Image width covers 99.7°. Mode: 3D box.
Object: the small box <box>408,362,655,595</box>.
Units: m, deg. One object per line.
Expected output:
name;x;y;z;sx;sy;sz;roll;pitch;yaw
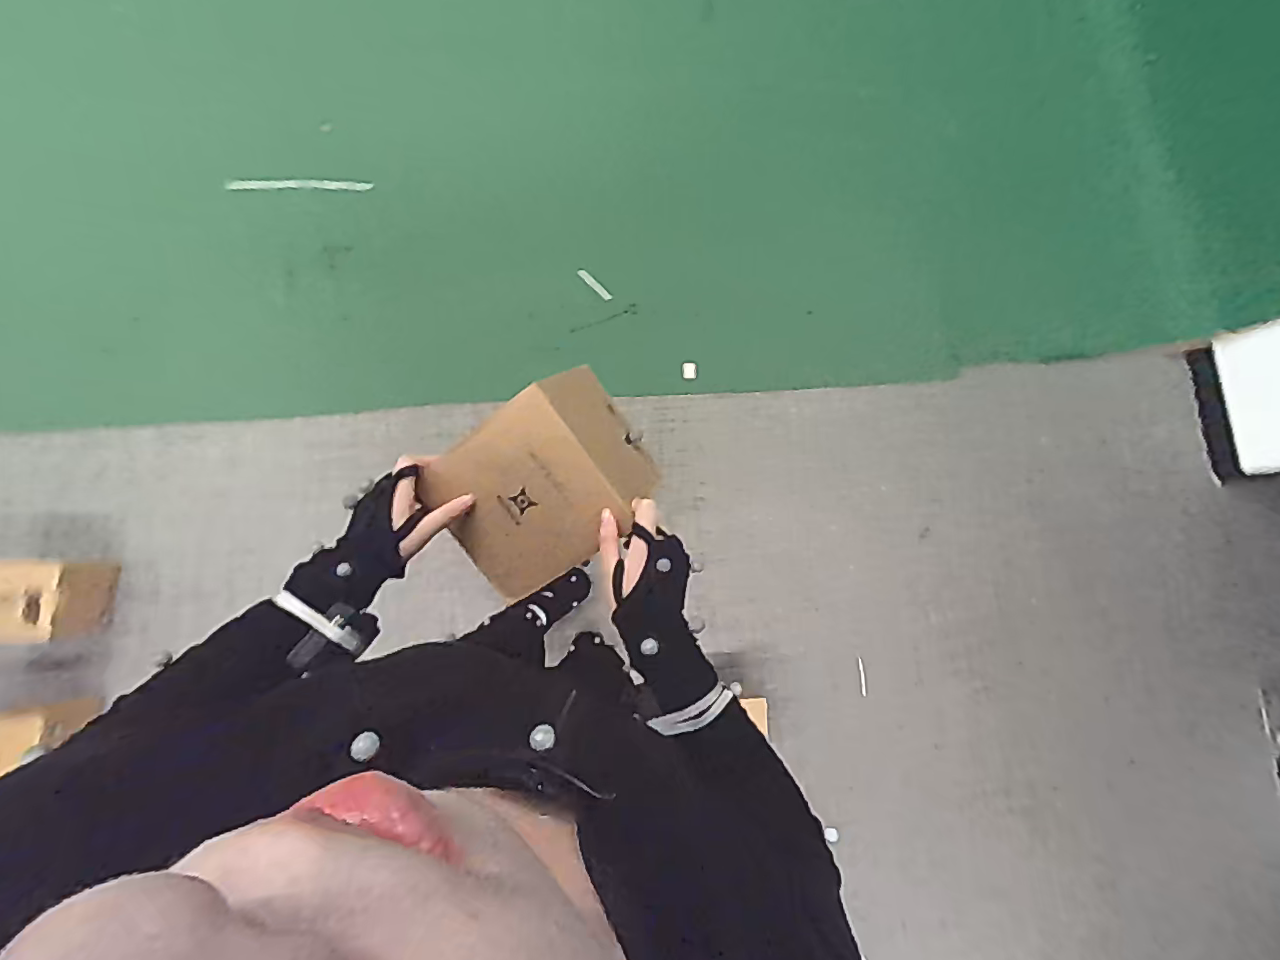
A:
small box;-0.105;-0.010;0.599;0.179;0.176;0.168;-33;100;20

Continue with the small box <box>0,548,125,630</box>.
small box;-1.343;0.242;1.235;0.179;0.176;0.168;2;84;-4
